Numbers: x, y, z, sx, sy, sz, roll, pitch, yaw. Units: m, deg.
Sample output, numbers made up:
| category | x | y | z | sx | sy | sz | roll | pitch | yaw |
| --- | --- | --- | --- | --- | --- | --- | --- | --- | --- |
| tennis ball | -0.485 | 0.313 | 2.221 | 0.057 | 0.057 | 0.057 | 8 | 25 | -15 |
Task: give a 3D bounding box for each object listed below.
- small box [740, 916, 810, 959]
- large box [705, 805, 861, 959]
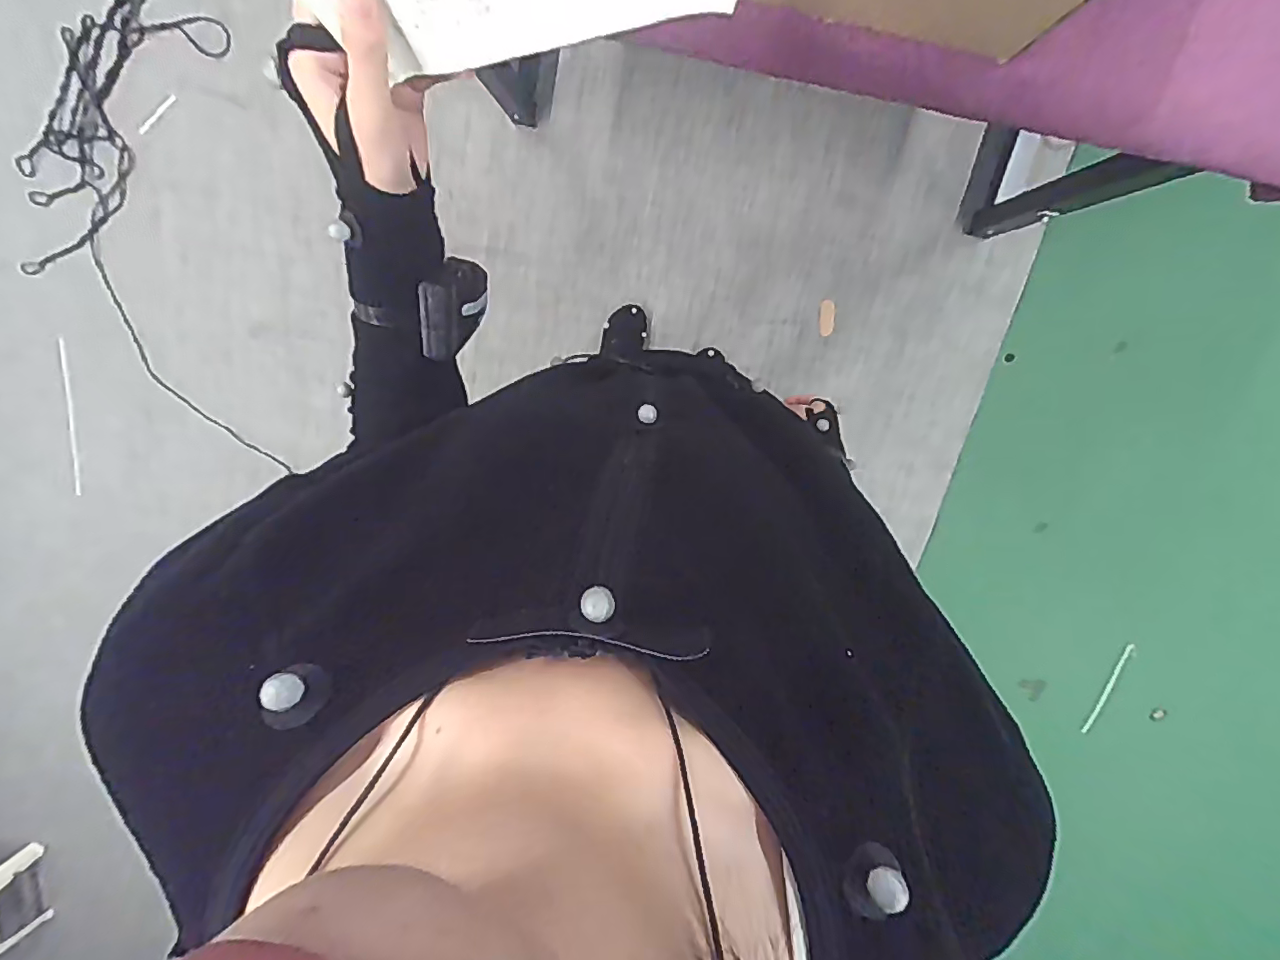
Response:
| category | x | y | z | sx | sy | sz | roll | pitch | yaw |
| --- | --- | --- | --- | --- | --- | --- | --- | --- | --- |
| small box | 0.353 | 1.289 | 1.414 | 0.168 | 0.176 | 0.179 | -1 | 104 | 5 |
| large box | 0.412 | 1.241 | 1.650 | 0.408 | 0.320 | 0.320 | -2 | 105 | 3 |
